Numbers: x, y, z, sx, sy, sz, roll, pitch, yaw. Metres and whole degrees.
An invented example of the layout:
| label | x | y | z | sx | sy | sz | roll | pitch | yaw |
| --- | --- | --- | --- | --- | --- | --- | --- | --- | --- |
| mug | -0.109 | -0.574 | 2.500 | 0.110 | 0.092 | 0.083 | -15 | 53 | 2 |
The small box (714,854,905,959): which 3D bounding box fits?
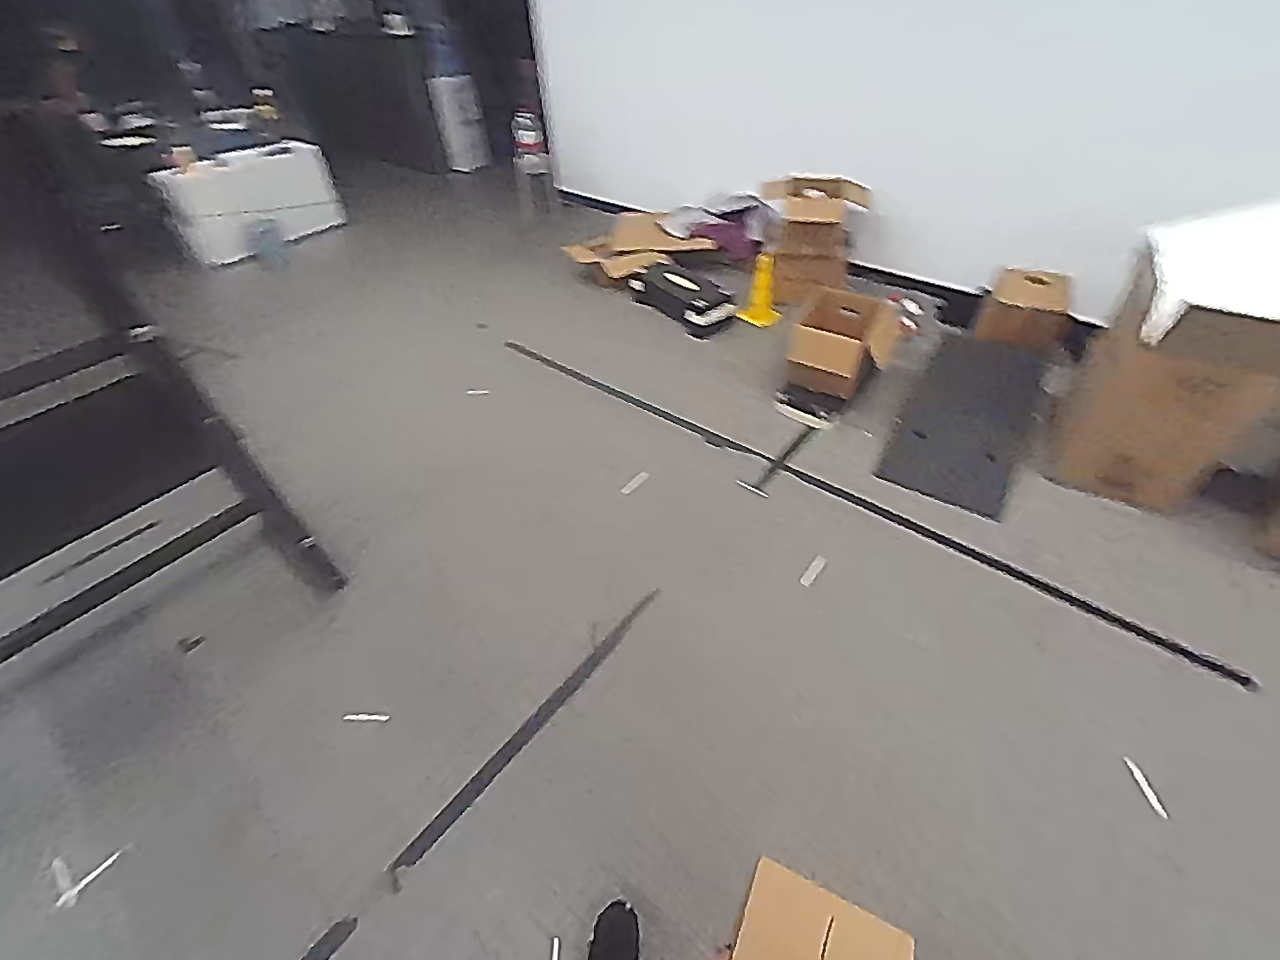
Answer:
| label | x | y | z | sx | sy | sz | roll | pitch | yaw |
| --- | --- | --- | --- | --- | --- | --- | --- | --- | --- |
| small box | 0.158 | 0.549 | 0.564 | 0.168 | 0.176 | 0.179 | 18 | 40 | 19 |
